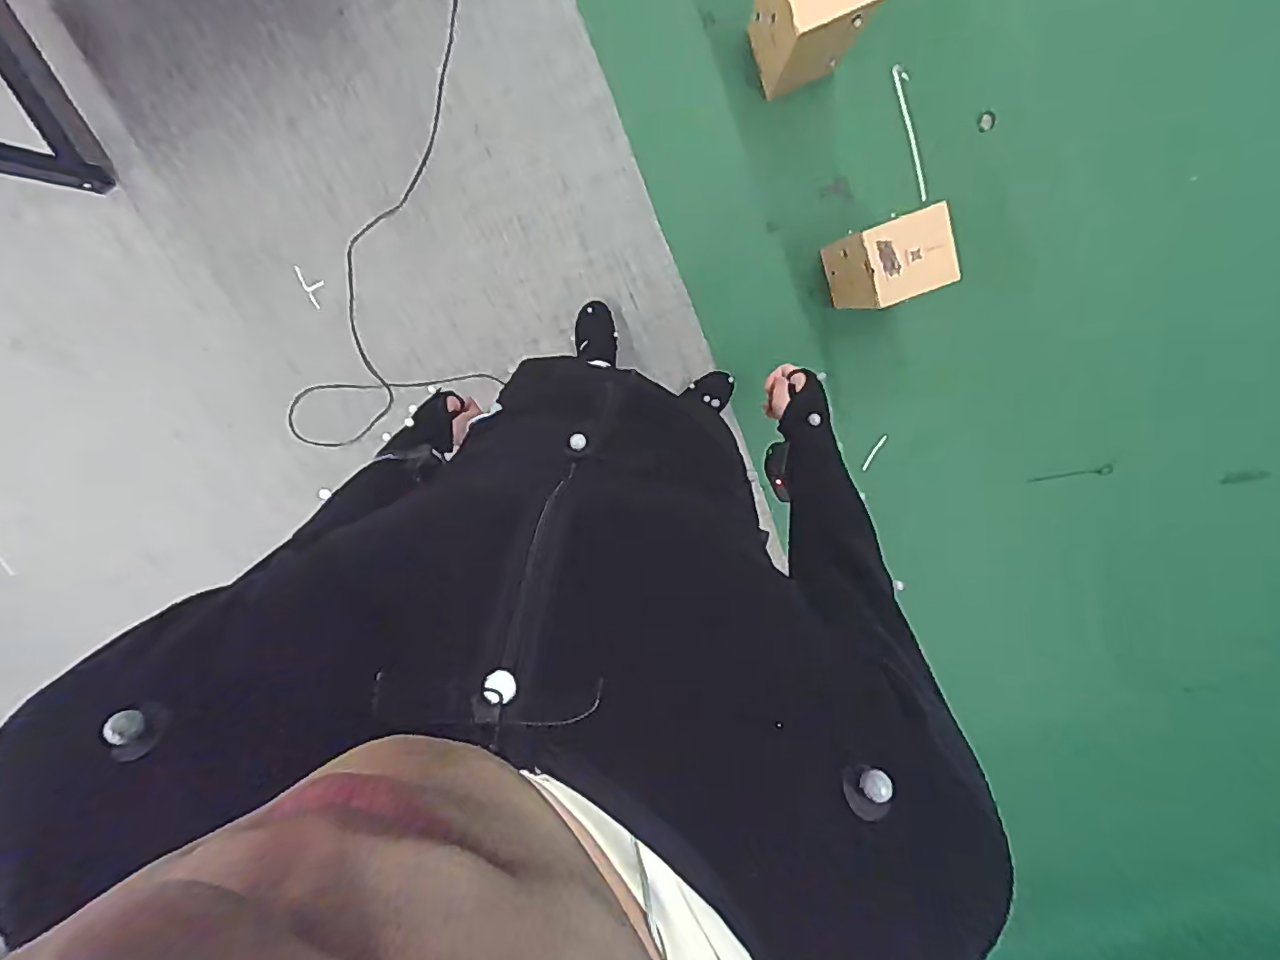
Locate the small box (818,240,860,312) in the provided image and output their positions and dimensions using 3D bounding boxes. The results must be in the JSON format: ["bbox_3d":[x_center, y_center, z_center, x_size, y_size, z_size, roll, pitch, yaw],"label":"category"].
[{"bbox_3d":[0.576,-0.538,1.372,0.179,0.176,0.168,-20,105,9],"label":"small box"}]

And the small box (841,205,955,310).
[{"bbox_3d":[0.568,-0.489,1.217,0.179,0.176,0.168,-19,106,8],"label":"small box"}]

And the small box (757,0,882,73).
[{"bbox_3d":[0.350,-0.966,1.081,0.179,0.176,0.168,-19,104,8],"label":"small box"}]
